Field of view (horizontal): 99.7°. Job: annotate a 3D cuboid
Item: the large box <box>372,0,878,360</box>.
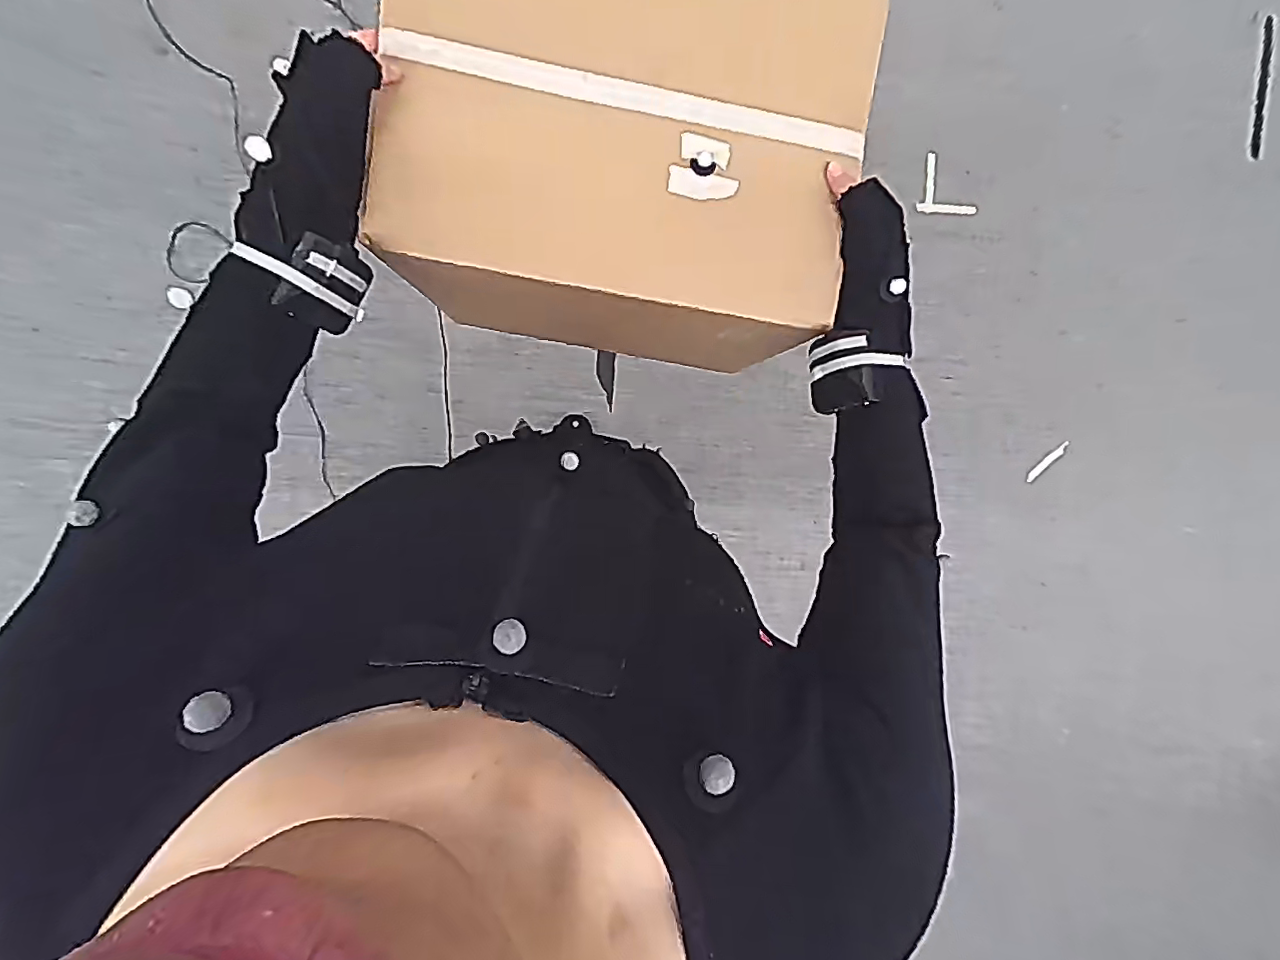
[{"bbox_3d":[-0.022,-0.336,0.602,0.408,0.320,0.320,8,94,-6],"label":"large box"}]
